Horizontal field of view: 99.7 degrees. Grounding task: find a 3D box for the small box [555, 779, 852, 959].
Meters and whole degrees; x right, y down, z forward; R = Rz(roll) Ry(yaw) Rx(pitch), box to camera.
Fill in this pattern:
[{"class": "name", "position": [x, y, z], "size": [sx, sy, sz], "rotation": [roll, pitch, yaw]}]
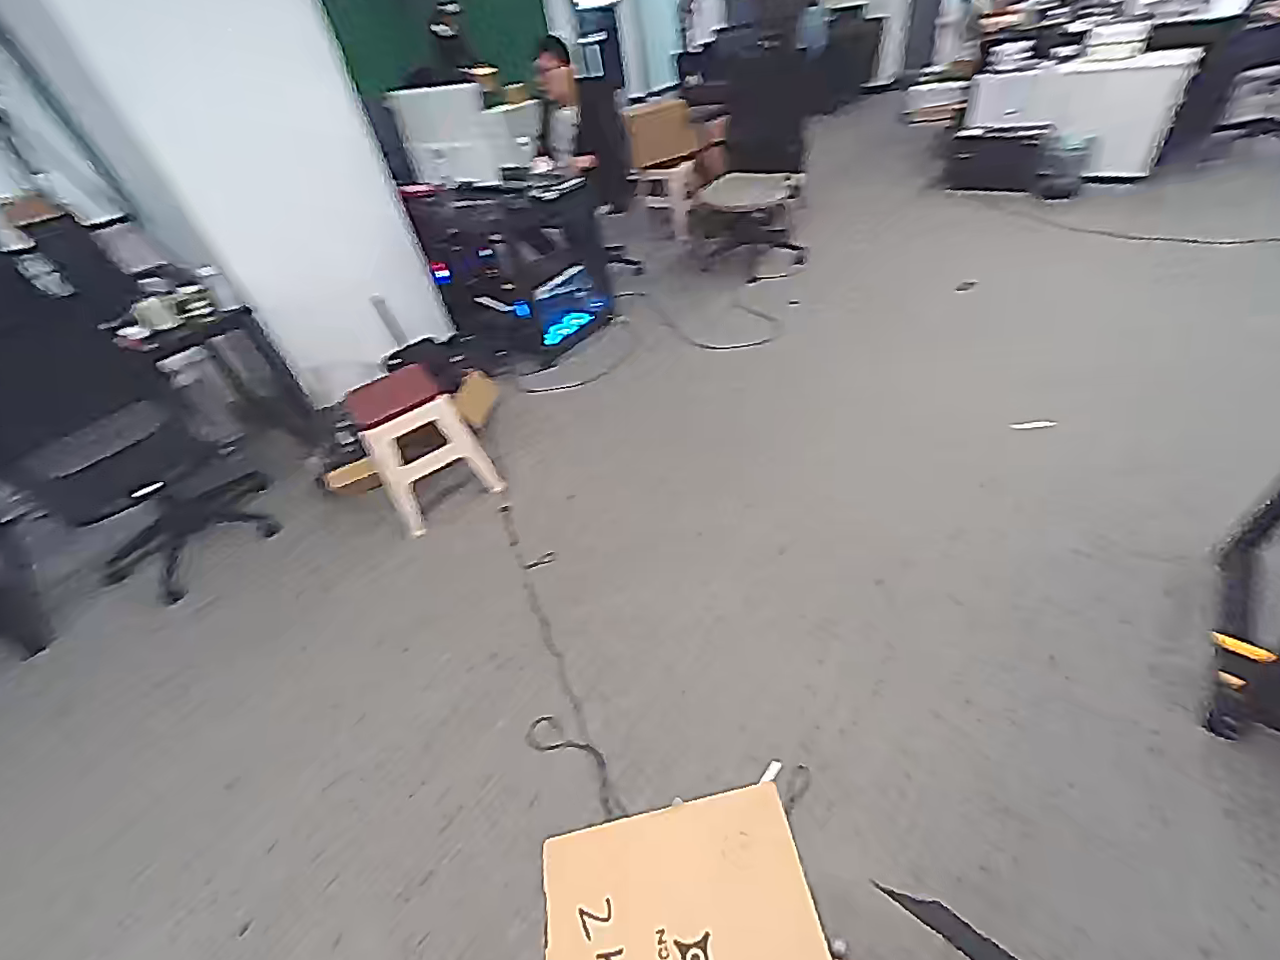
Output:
[{"class": "small box", "position": [0.051, 0.338, 0.378], "size": [0.179, 0.176, 0.168], "rotation": [-16, 43, 3]}]
